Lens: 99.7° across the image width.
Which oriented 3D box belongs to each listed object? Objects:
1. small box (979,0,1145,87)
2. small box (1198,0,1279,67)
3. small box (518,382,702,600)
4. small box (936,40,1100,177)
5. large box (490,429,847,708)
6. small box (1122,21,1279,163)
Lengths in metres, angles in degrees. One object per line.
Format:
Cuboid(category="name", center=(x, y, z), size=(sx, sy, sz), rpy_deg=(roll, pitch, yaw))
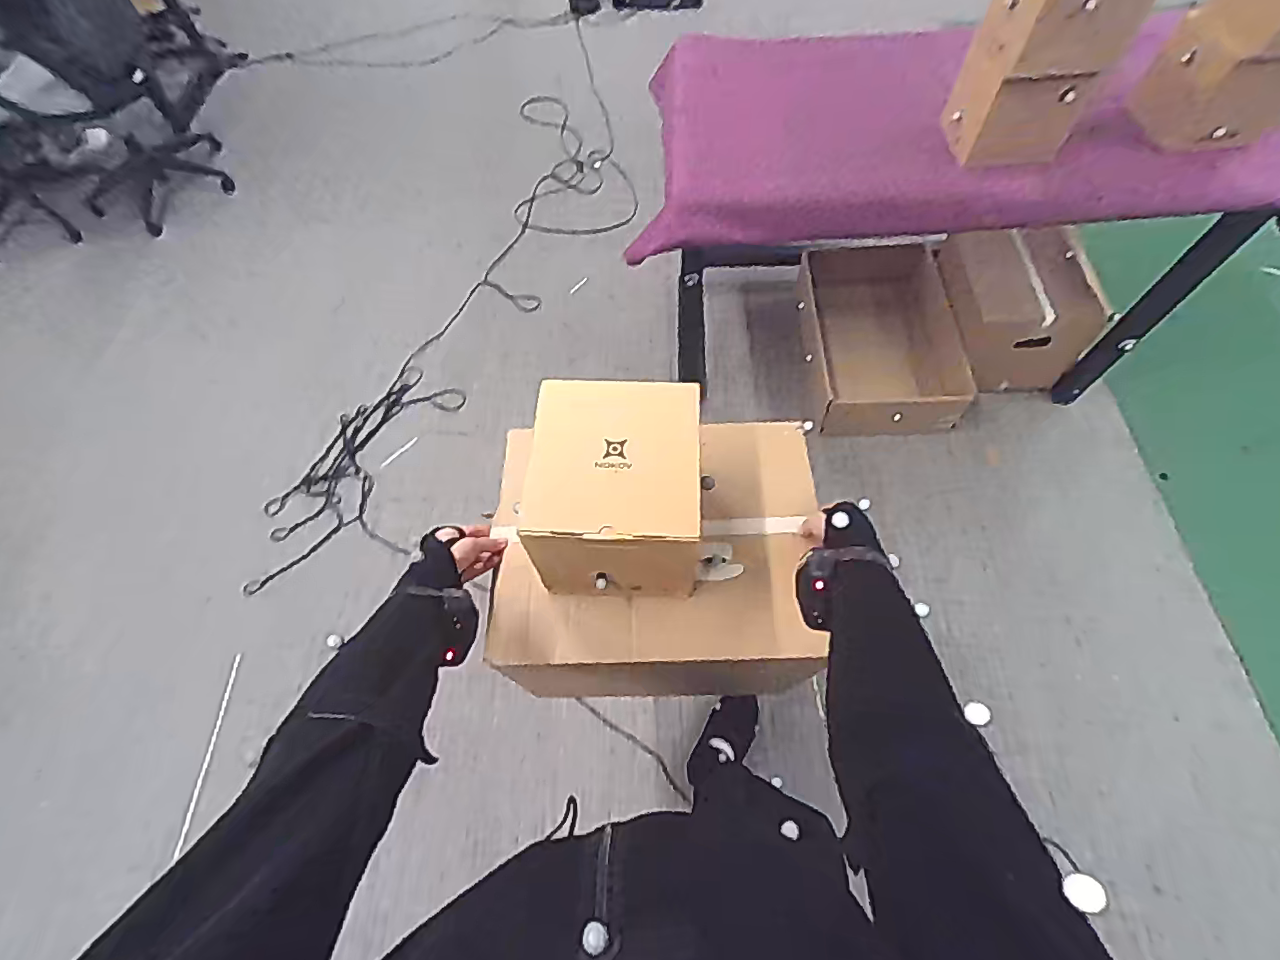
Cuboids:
Cuboid(category="small box", center=(0.690, -0.774, 0.884), size=(0.179, 0.176, 0.168), rpy_deg=(-4, 61, 4))
Cuboid(category="small box", center=(1.075, -0.800, 0.864), size=(0.168, 0.176, 0.179), rpy_deg=(-4, 60, 5))
Cuboid(category="small box", center=(-0.022, 0.017, 0.585), size=(0.168, 0.176, 0.179), rpy_deg=(2, 60, 2))
Cuboid(category="small box", center=(0.707, -0.710, 1.035), size=(0.179, 0.176, 0.168), rpy_deg=(-2, 60, 4))
Cuboid(category="large box", center=(0.026, 0.143, 0.792), size=(0.408, 0.320, 0.320), rpy_deg=(-1, 61, -1))
Cuboid(category="small box", center=(1.073, -0.730, 1.013), size=(0.168, 0.176, 0.179), rpy_deg=(-4, 60, 4))
